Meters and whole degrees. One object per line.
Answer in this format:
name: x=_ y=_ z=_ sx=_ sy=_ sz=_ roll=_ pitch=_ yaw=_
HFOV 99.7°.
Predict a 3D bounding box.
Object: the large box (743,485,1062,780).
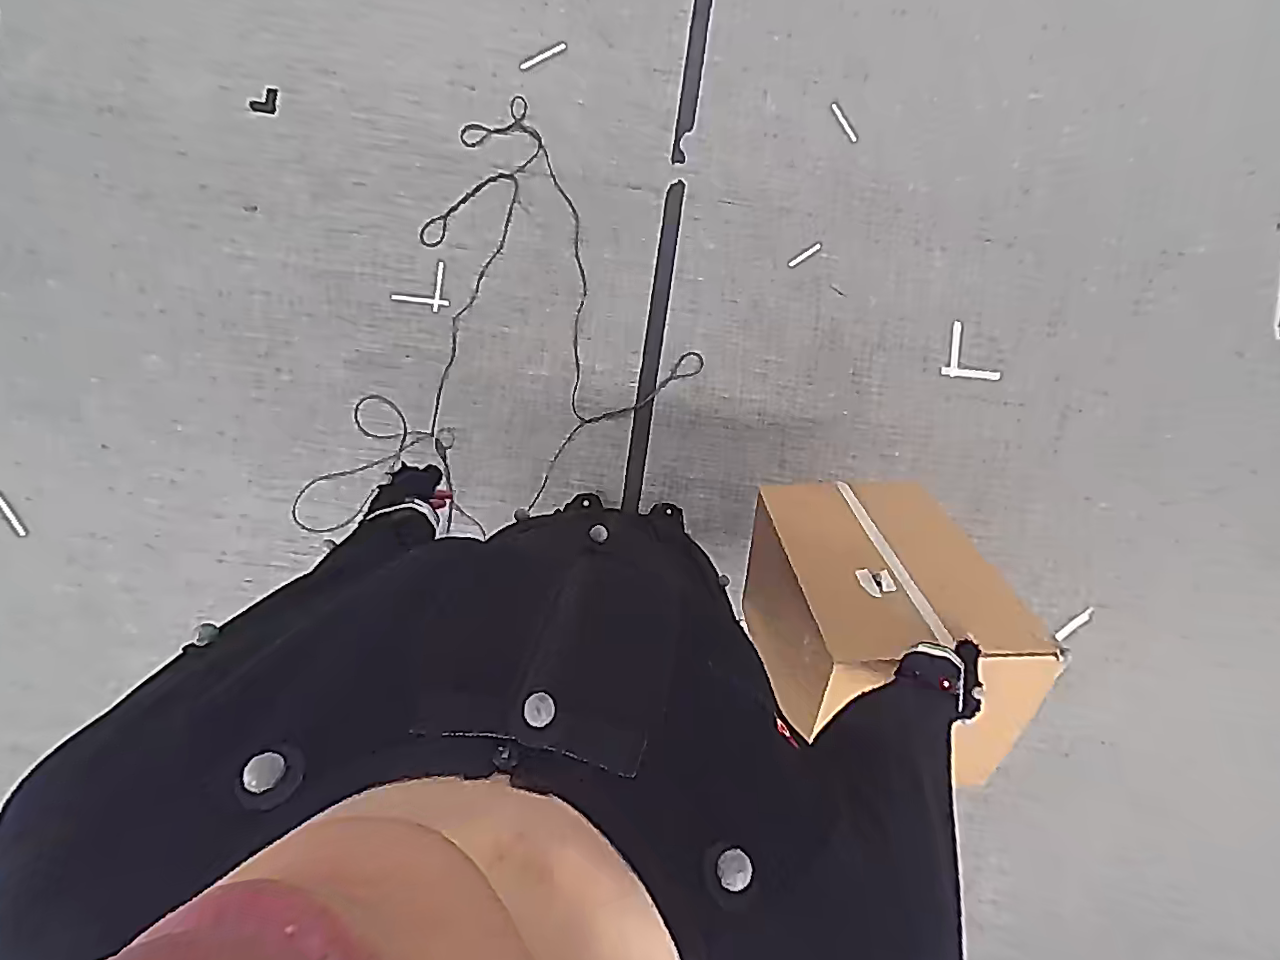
large box: x=0.392 y=0.246 z=0.952 sx=0.320 sy=0.408 sz=0.320 roll=-1 pitch=124 yaw=-3
